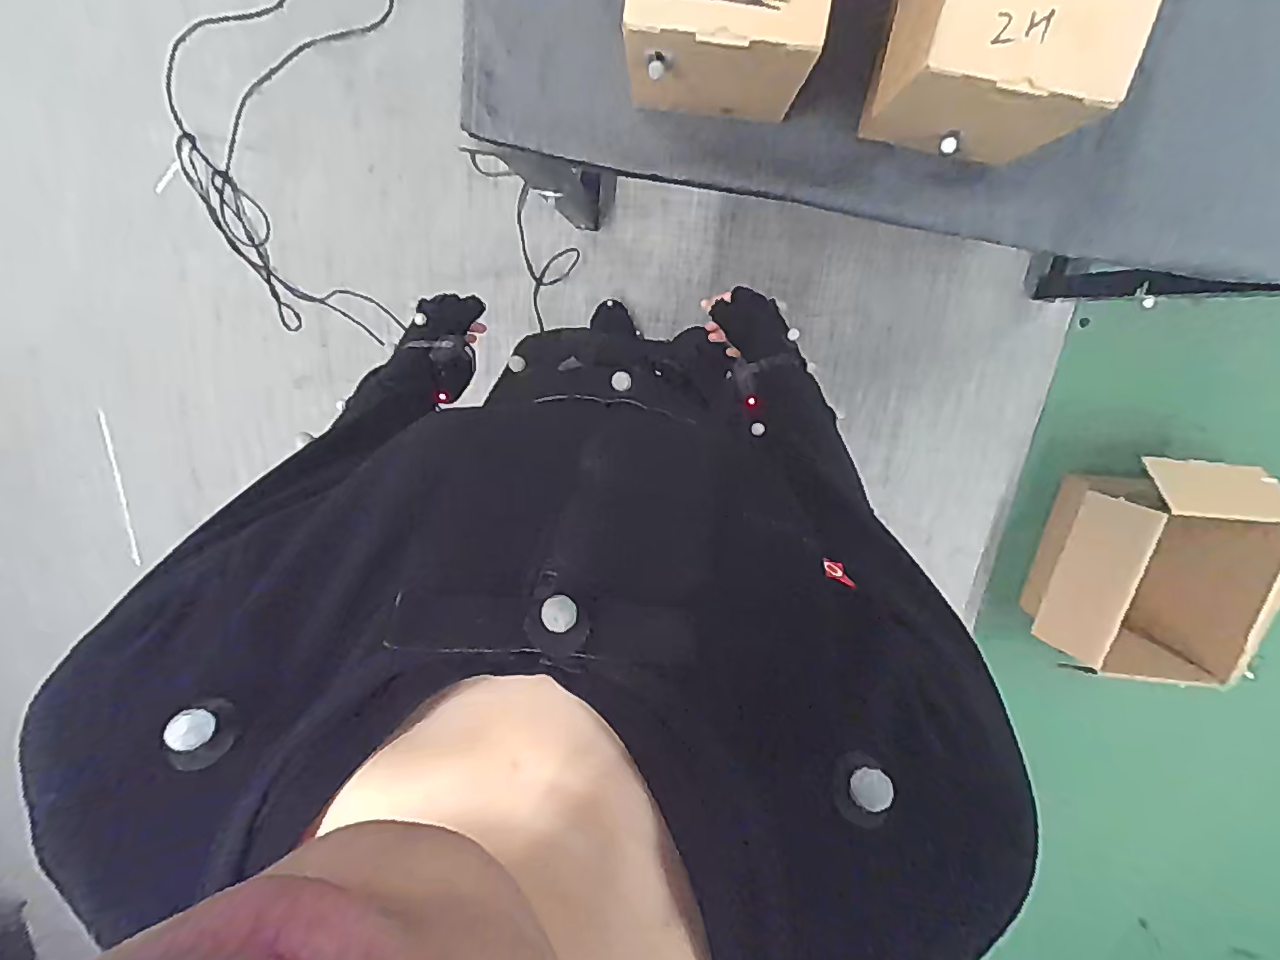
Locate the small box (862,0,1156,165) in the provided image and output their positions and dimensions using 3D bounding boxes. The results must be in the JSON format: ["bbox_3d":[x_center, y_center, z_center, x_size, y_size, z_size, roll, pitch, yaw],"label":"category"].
[{"bbox_3d":[0.330,-0.423,0.500,0.168,0.176,0.179,10,107,-1],"label":"small box"}]
